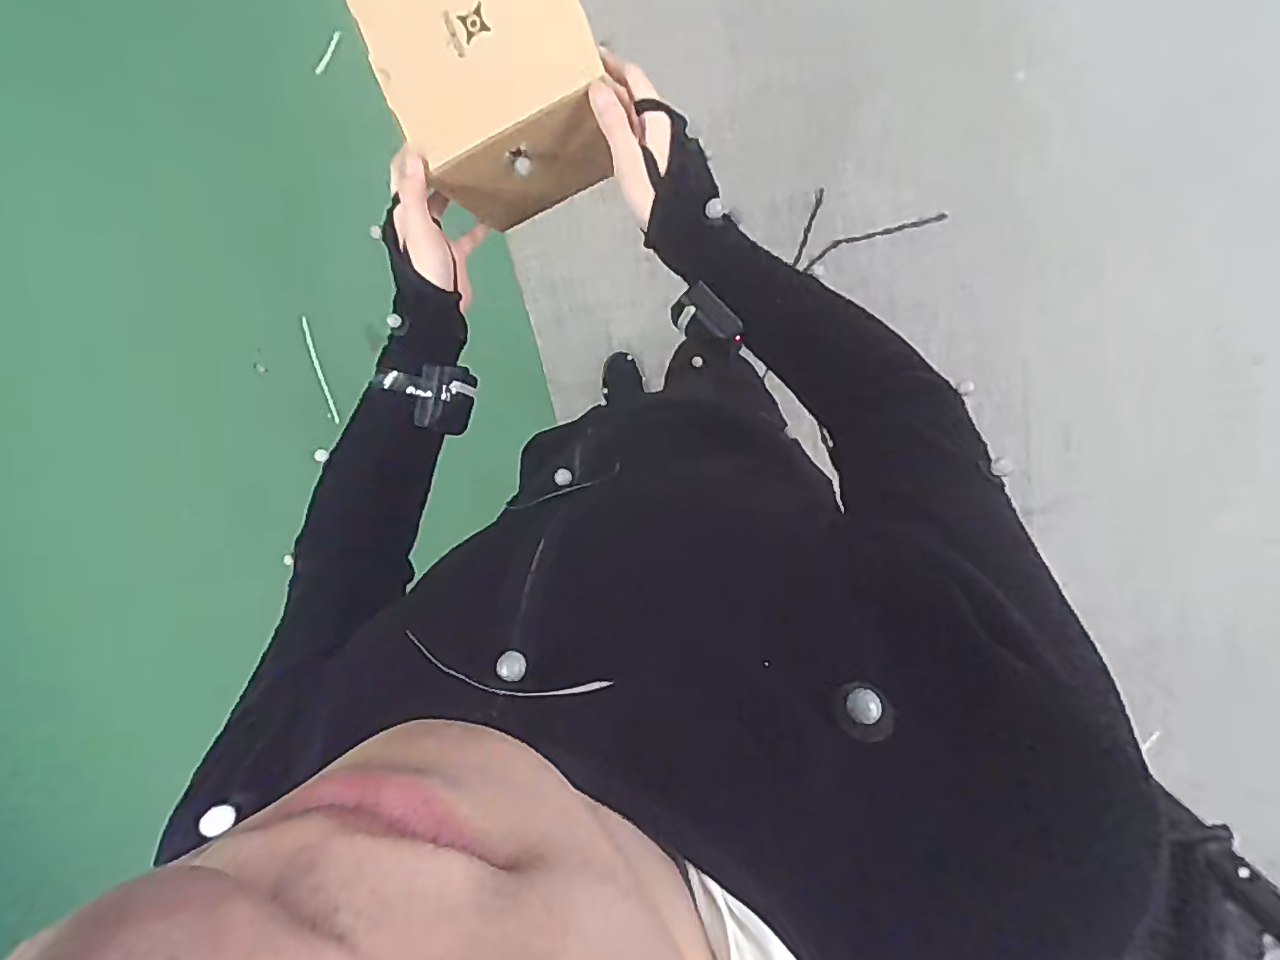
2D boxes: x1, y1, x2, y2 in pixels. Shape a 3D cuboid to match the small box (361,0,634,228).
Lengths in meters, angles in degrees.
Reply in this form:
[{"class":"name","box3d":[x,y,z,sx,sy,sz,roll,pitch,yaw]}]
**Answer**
[{"class":"small box","box3d":[-0.114,-0.373,0.514,0.179,0.176,0.168,-20,95,12]}]
